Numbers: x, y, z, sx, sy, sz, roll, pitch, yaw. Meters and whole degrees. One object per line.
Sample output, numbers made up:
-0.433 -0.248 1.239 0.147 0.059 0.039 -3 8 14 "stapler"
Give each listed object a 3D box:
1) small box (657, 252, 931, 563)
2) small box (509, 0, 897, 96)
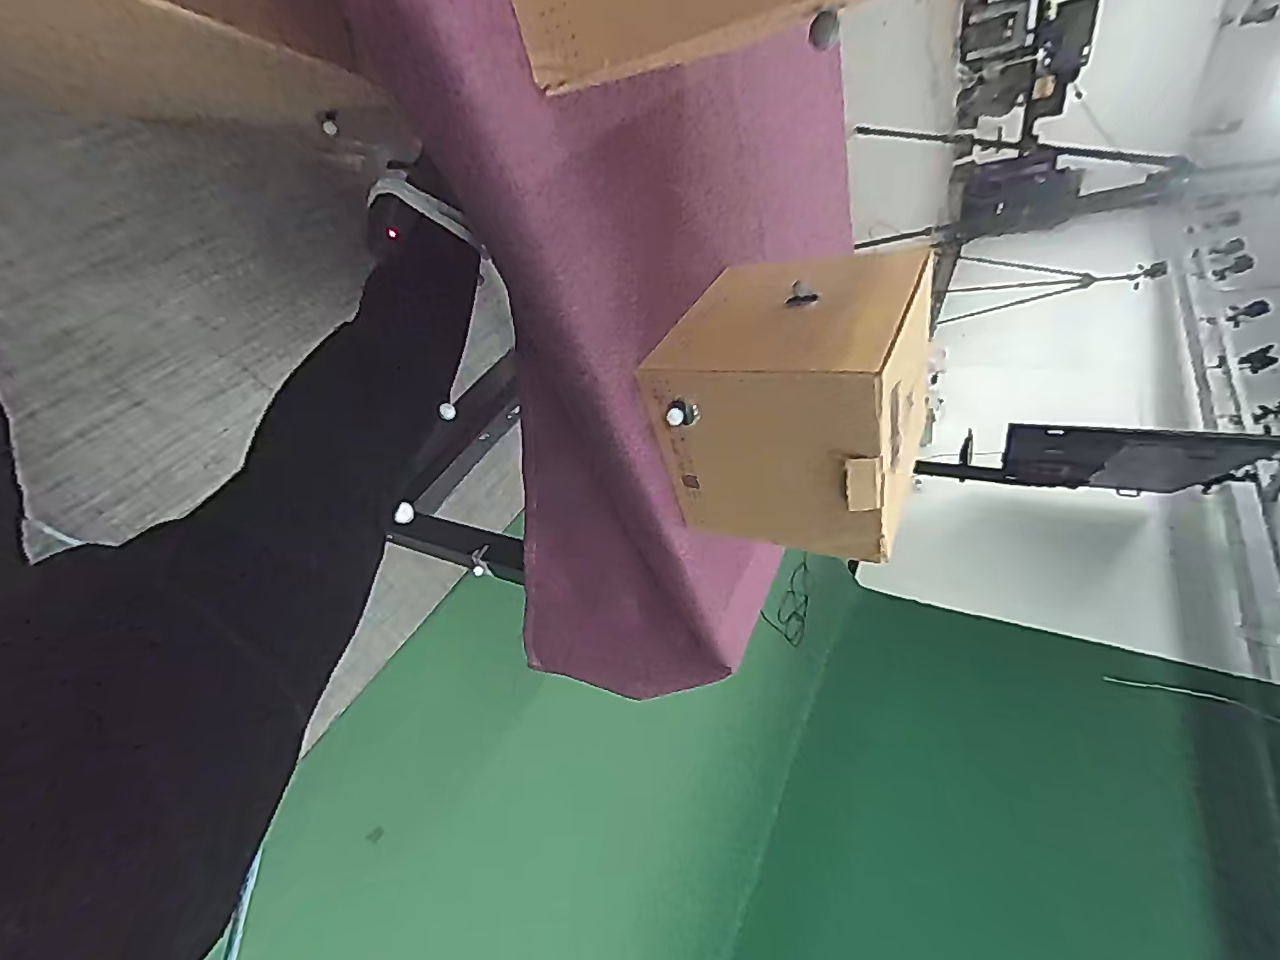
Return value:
0.129 -0.062 0.441 0.179 0.176 0.168 -54 138 -36 "small box"
0.038 -0.306 0.252 0.179 0.176 0.168 -49 135 -38 "small box"
